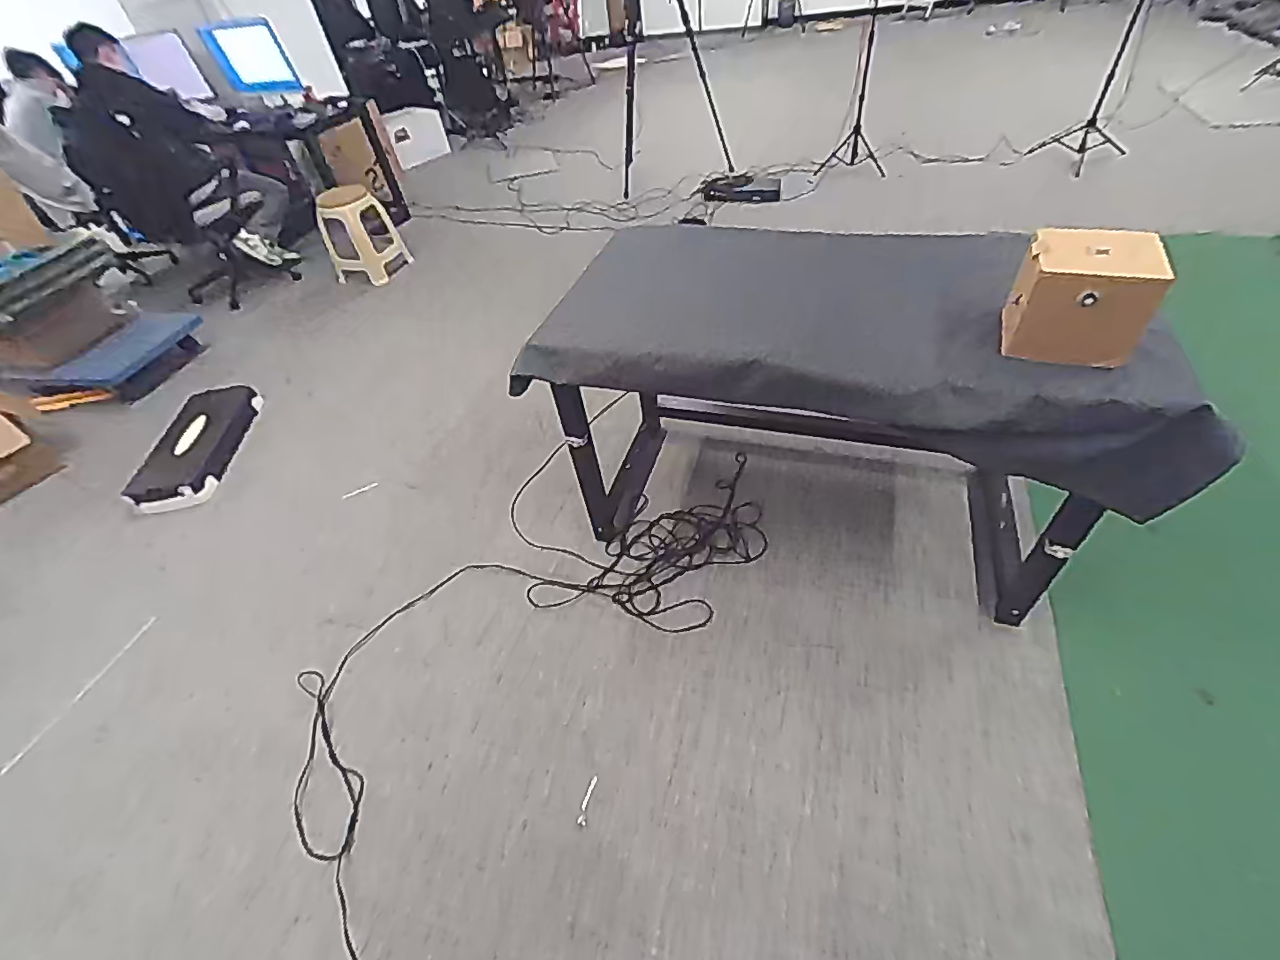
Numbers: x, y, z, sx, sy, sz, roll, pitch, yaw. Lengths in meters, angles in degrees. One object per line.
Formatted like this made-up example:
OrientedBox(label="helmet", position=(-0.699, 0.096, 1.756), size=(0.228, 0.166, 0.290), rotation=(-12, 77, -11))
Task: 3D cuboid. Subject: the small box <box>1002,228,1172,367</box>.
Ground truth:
OrientedBox(label="small box", position=(0.752, -0.315, 0.935), size=(0.179, 0.176, 0.168), rotation=(14, 51, 21))
